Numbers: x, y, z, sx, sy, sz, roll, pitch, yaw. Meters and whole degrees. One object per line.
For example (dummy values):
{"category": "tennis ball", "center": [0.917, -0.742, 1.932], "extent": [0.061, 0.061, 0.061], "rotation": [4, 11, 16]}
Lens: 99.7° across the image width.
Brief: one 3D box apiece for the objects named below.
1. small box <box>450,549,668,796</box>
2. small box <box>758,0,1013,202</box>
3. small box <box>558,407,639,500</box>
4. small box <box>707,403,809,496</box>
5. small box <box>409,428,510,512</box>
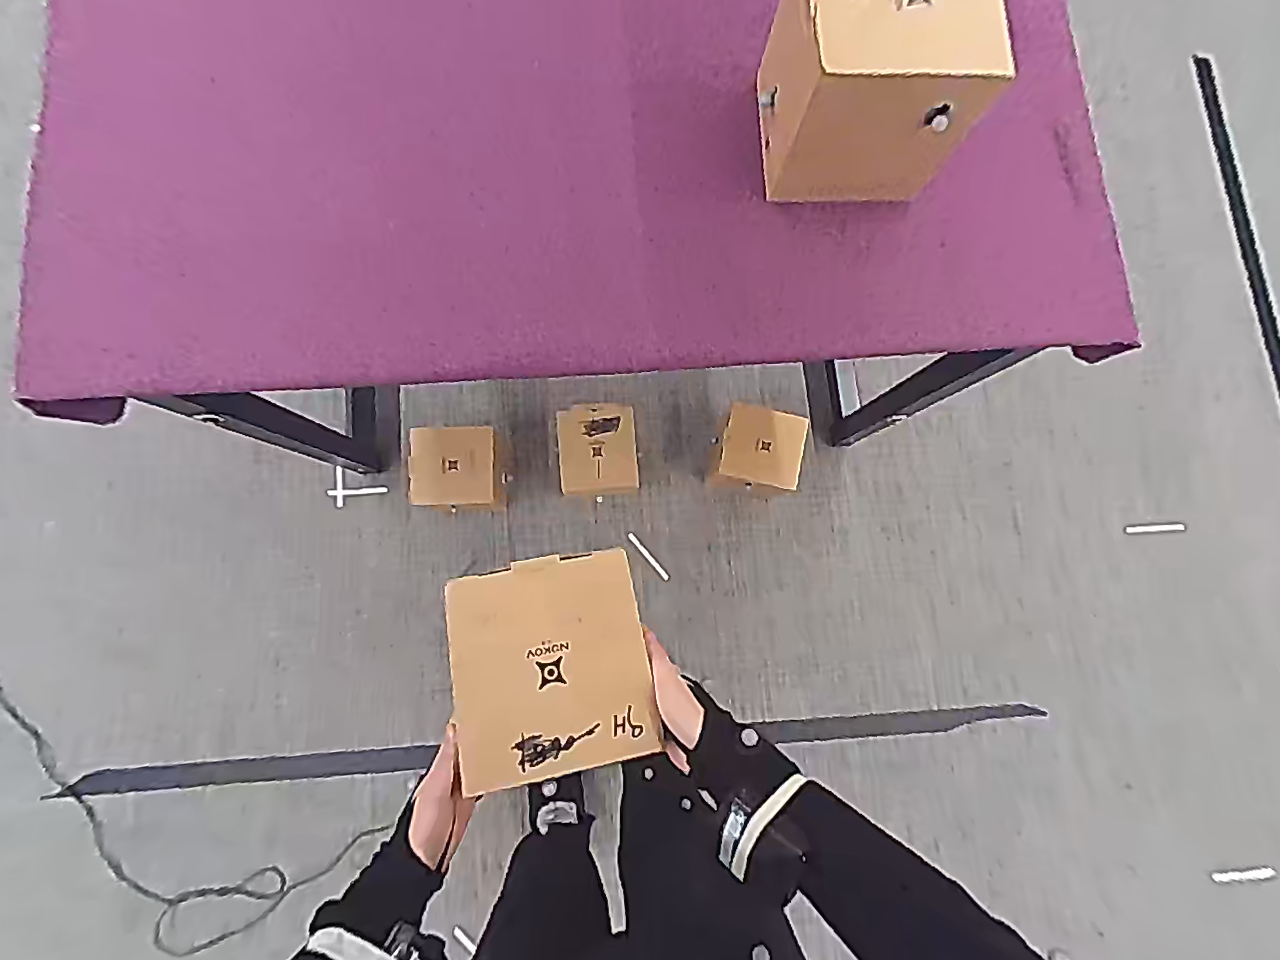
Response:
{"category": "small box", "center": [-0.078, 0.185, 0.531], "extent": [0.168, 0.176, 0.179], "rotation": [-10, 69, -7]}
{"category": "small box", "center": [0.232, -0.411, 0.555], "extent": [0.179, 0.176, 0.168], "rotation": [-2, 81, -2]}
{"category": "small box", "center": [-0.093, -0.055, 1.226], "extent": [0.168, 0.176, 0.179], "rotation": [-5, 83, -3]}
{"category": "small box", "center": [0.263, -0.062, 1.245], "extent": [0.179, 0.176, 0.168], "rotation": [13, 82, 1]}
{"category": "small box", "center": [-0.396, -0.017, 1.209], "extent": [0.179, 0.176, 0.168], "rotation": [-1, 83, -3]}
